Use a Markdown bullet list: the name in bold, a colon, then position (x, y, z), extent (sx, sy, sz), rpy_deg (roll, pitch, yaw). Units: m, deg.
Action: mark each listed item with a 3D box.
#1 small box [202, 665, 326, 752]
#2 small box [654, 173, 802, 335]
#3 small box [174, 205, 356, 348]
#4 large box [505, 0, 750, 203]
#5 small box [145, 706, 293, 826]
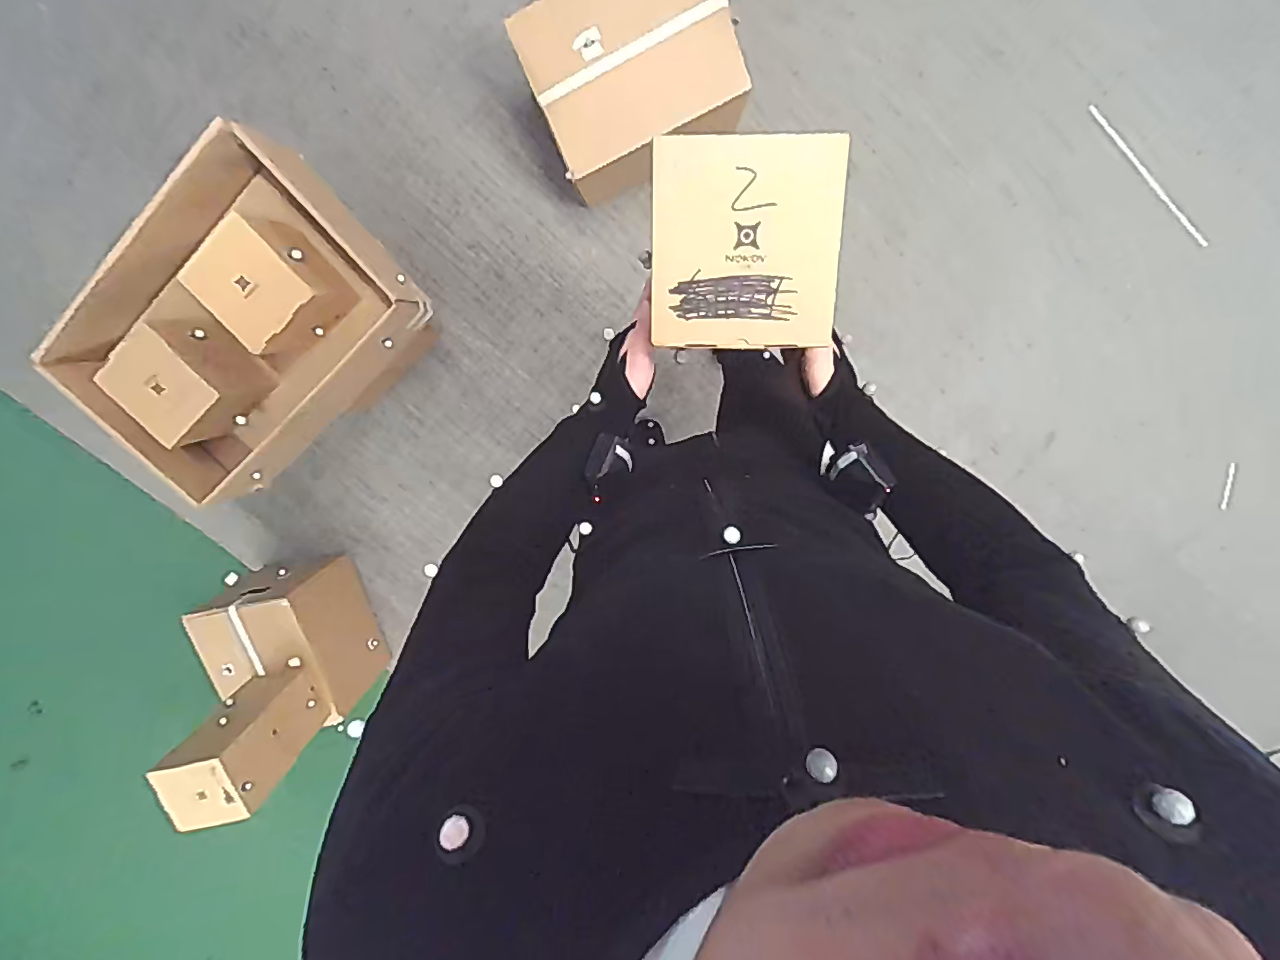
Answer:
- **small box**: position (-0.966, 0.609, 1.405), extent (0.179, 0.176, 0.168), rpy_deg (-13, 106, 4)
- **small box**: position (0.102, -0.283, 0.706), extent (0.168, 0.176, 0.179), rpy_deg (0, 105, 1)
- **small box**: position (-0.678, -0.365, 0.999), extent (0.168, 0.176, 0.179), rpy_deg (-39, 104, 12)
- **large box**: position (-0.018, -0.880, 1.197), extent (0.408, 0.320, 0.320), rpy_deg (-23, 104, 9)
- **small box**: position (-0.958, 0.653, 1.247), extent (0.179, 0.176, 0.168), rpy_deg (-13, 106, 5)
